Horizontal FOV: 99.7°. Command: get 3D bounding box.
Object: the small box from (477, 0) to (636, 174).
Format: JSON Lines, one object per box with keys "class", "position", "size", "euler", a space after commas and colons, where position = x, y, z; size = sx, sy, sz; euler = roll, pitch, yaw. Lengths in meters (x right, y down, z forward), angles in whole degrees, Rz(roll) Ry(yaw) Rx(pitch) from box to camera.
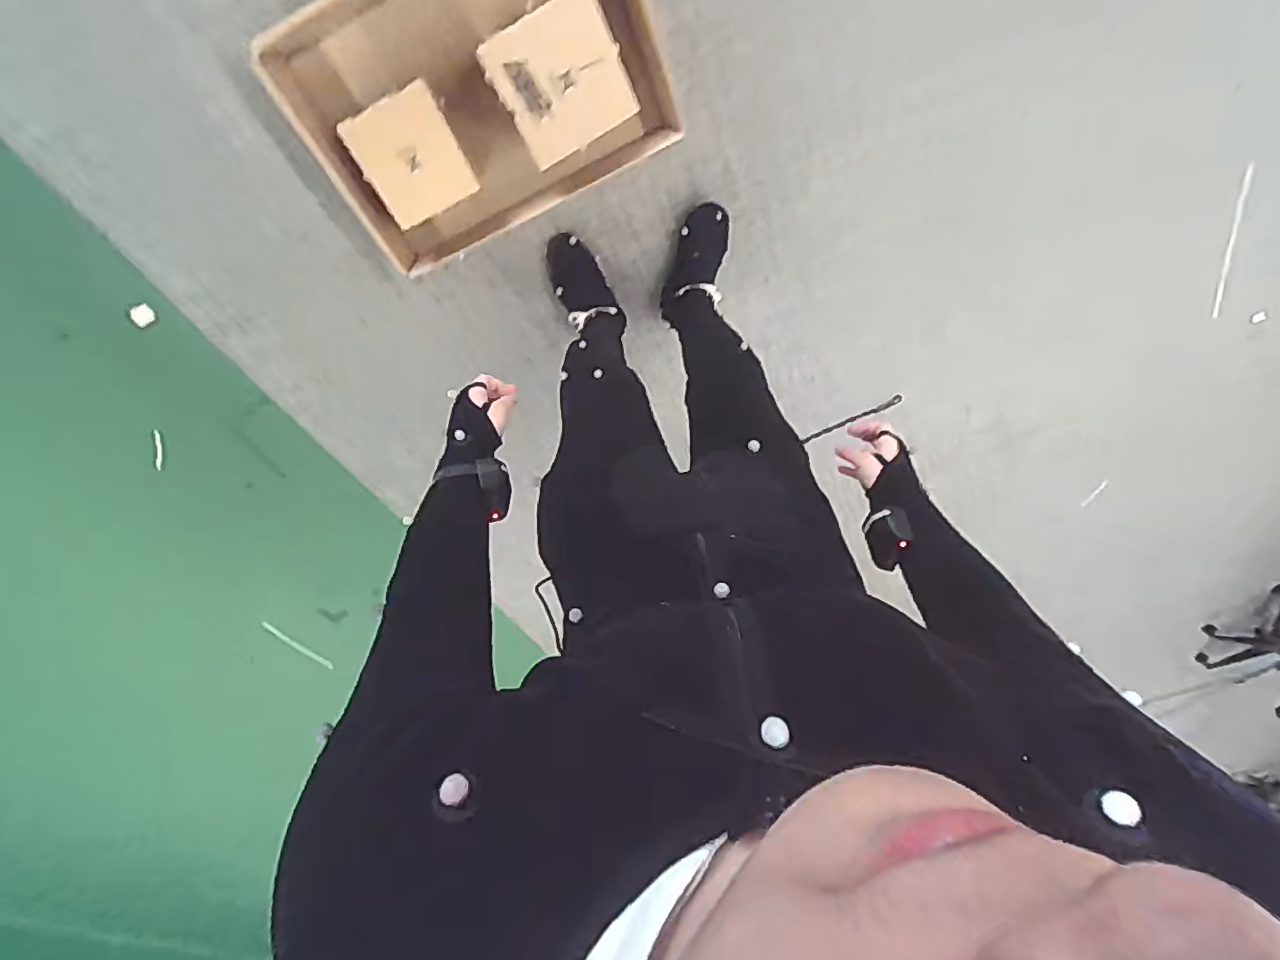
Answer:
{"class": "small box", "position": [-0.126, -0.607, 0.836], "size": [0.179, 0.176, 0.168], "euler": [-26, 128, 8]}
